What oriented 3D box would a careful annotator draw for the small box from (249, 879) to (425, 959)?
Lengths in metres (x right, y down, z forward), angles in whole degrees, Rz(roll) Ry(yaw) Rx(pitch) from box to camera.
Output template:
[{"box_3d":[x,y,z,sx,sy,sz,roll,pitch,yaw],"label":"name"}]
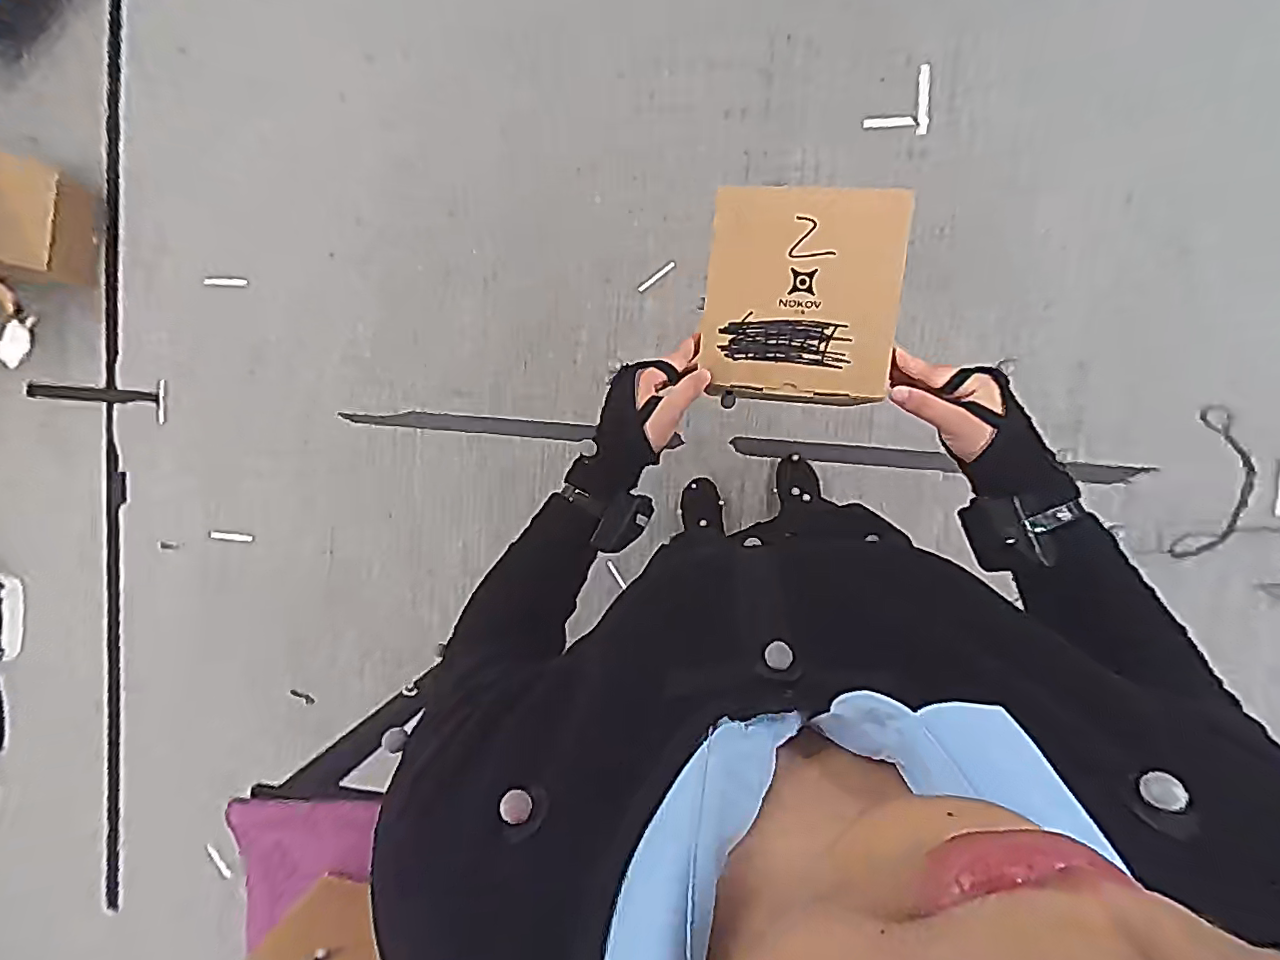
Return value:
[{"box_3d":[-0.448,0.739,0.799,0.179,0.176,0.168,6,95,7],"label":"small box"}]
